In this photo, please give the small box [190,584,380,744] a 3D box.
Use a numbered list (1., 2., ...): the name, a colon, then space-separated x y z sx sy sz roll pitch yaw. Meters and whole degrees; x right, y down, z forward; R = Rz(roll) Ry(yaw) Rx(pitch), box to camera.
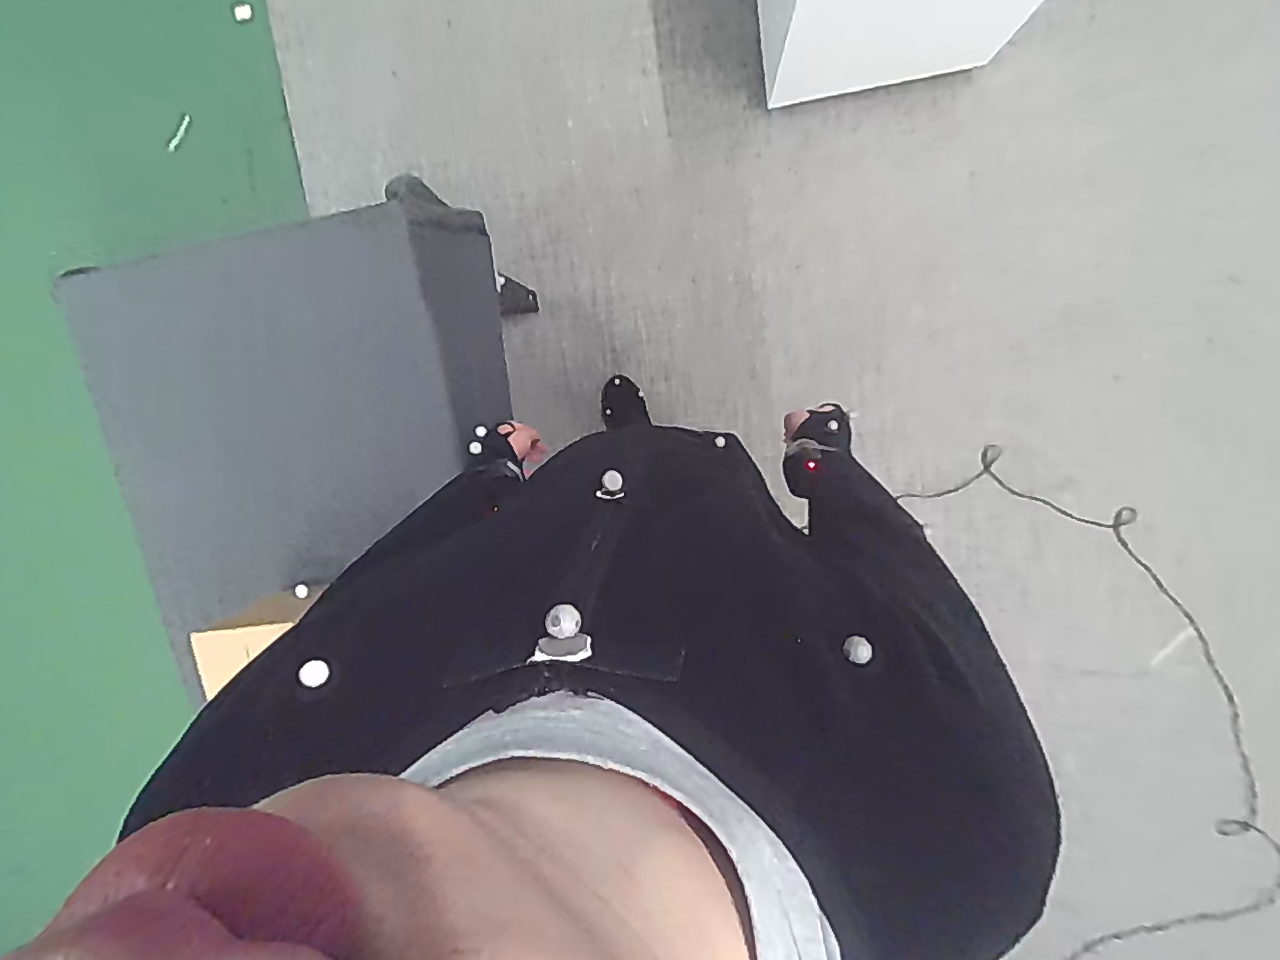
1. small box: -0.537 0.279 0.845 0.168 0.176 0.179 -8 98 7
